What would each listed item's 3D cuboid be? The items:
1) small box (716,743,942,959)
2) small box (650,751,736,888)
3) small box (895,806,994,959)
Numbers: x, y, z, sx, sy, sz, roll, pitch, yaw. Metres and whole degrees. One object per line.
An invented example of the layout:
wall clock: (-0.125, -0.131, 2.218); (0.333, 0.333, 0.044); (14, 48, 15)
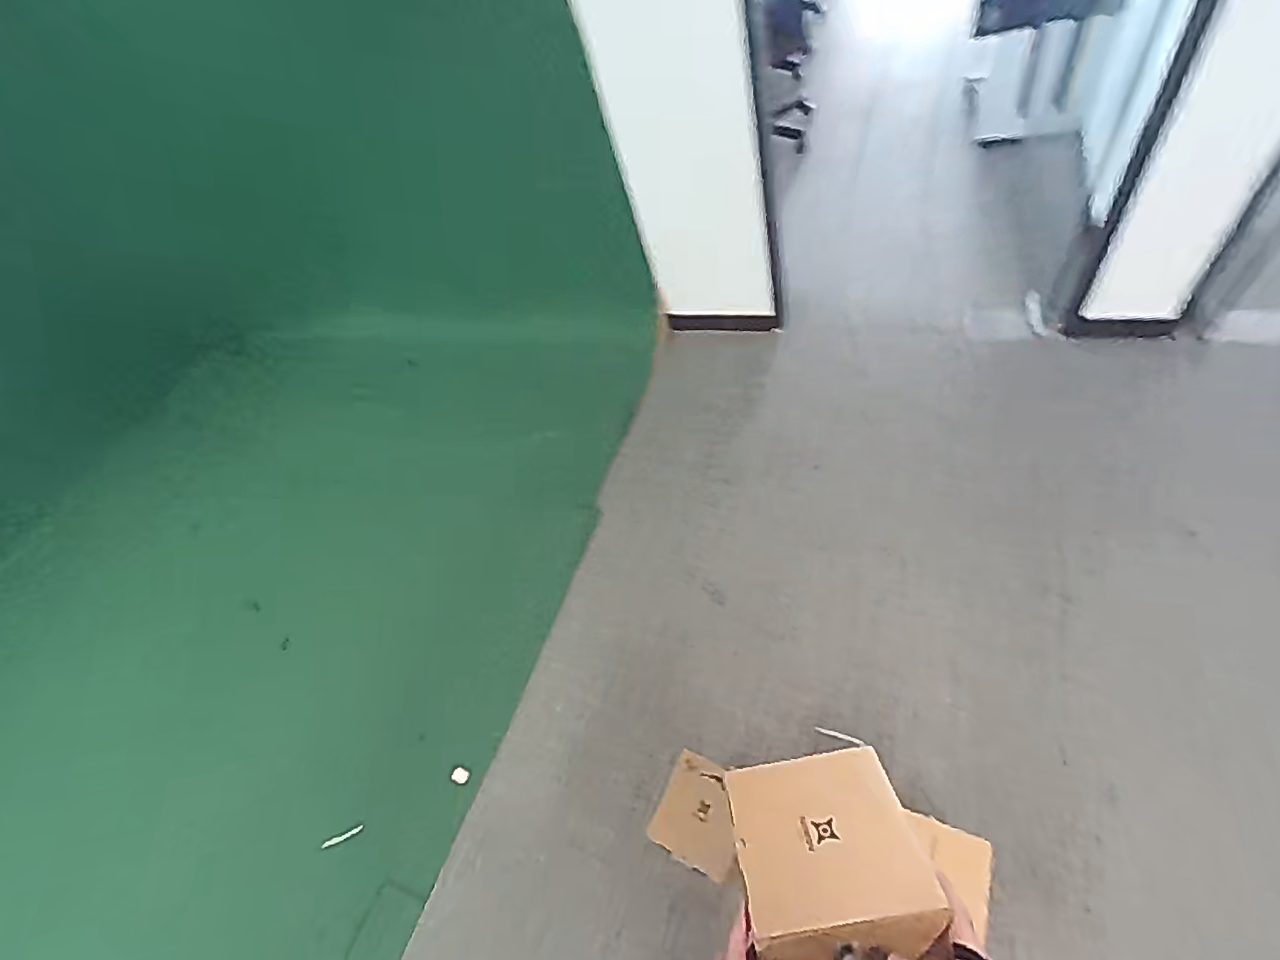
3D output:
small box: (0.192, 0.422, 0.578); (0.179, 0.176, 0.168); (-14, 24, 3)
small box: (0.147, 0.688, 1.100); (0.168, 0.176, 0.179); (17, 63, 28)
small box: (0.505, 0.708, 0.953); (0.168, 0.176, 0.179); (11, 59, 27)
